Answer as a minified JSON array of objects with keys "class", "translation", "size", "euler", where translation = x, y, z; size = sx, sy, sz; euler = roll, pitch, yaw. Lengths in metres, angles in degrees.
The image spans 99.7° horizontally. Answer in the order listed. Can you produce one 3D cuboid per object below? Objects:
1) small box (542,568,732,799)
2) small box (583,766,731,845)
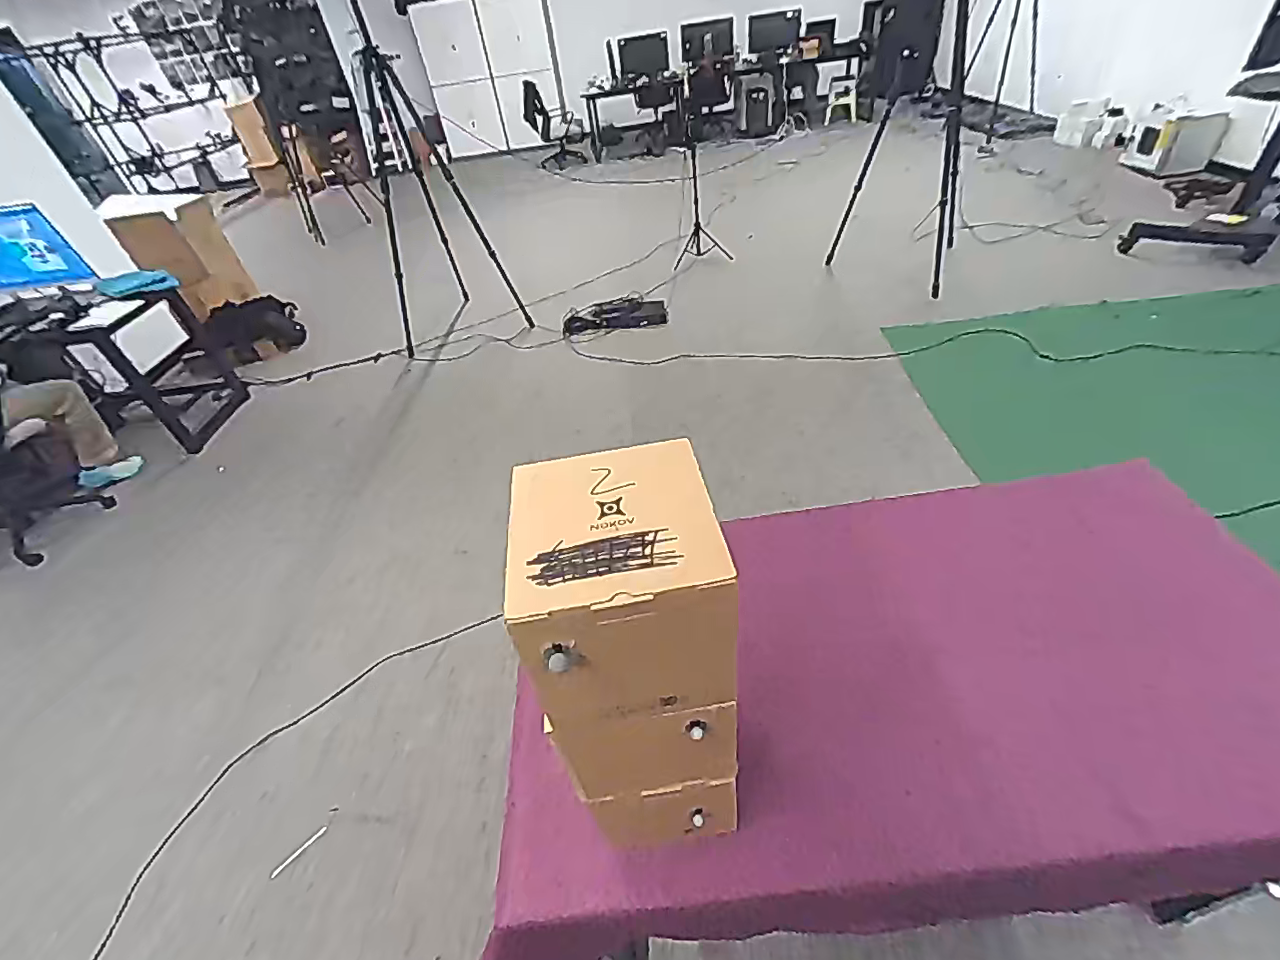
[{"class":"small box","translation":[-0.002,0.223,0.591],"size":[0.179,0.176,0.168],"euler":[-9,41,-2]},{"class":"small box","translation":[0.021,0.345,0.696],"size":[0.168,0.176,0.179],"euler":[-8,40,0]}]
